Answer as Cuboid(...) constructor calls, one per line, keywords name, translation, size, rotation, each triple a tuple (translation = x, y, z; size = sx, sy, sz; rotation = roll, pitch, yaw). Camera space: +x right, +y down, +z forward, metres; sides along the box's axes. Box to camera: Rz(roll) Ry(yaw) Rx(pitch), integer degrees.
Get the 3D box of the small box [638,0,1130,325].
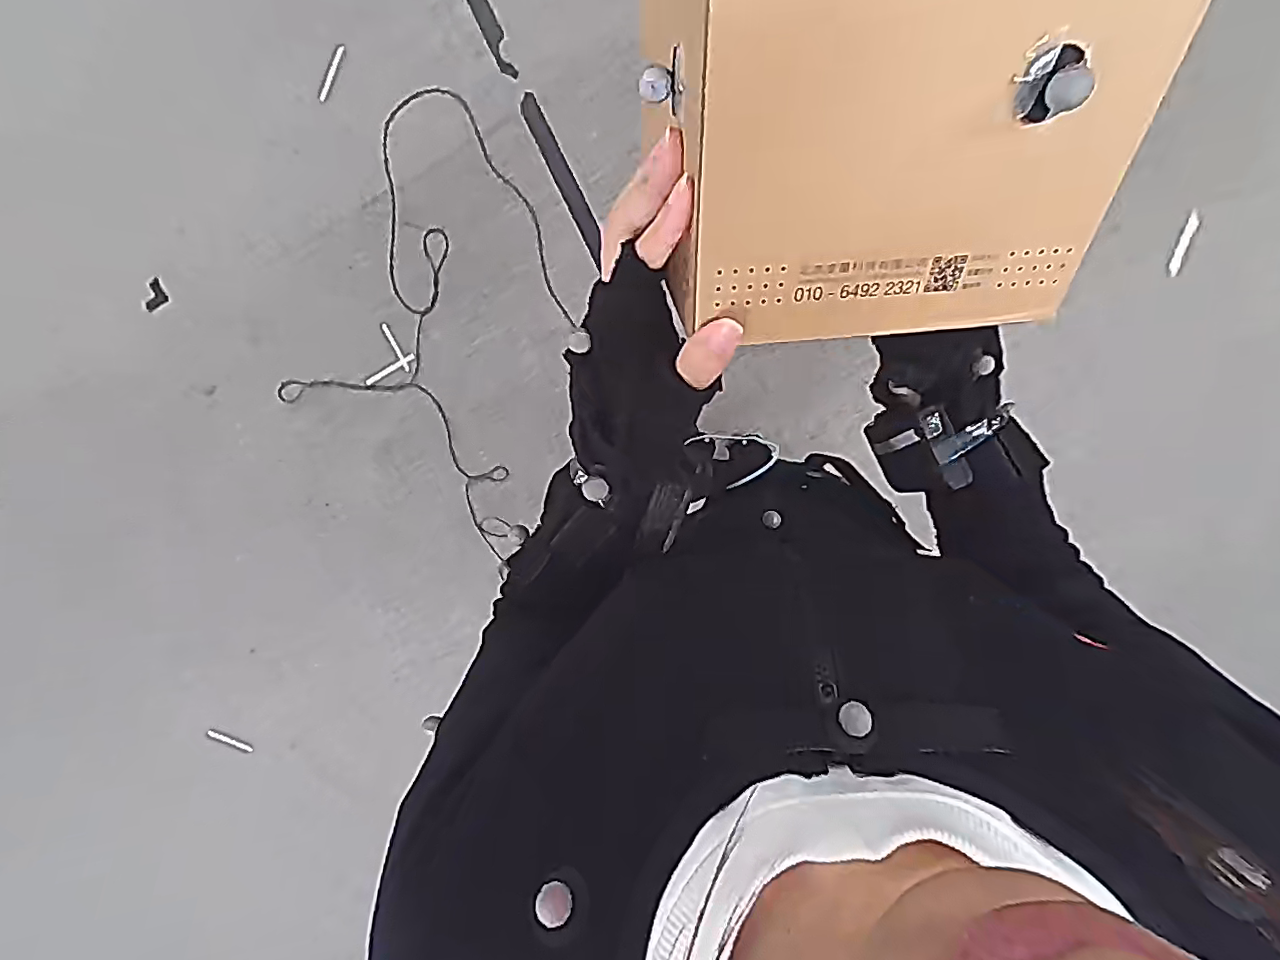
Cuboid(name="small box", translation=(0.091, -0.186, 0.268), size=(0.168, 0.179, 0.176), rotation=(-6, 130, -5))
